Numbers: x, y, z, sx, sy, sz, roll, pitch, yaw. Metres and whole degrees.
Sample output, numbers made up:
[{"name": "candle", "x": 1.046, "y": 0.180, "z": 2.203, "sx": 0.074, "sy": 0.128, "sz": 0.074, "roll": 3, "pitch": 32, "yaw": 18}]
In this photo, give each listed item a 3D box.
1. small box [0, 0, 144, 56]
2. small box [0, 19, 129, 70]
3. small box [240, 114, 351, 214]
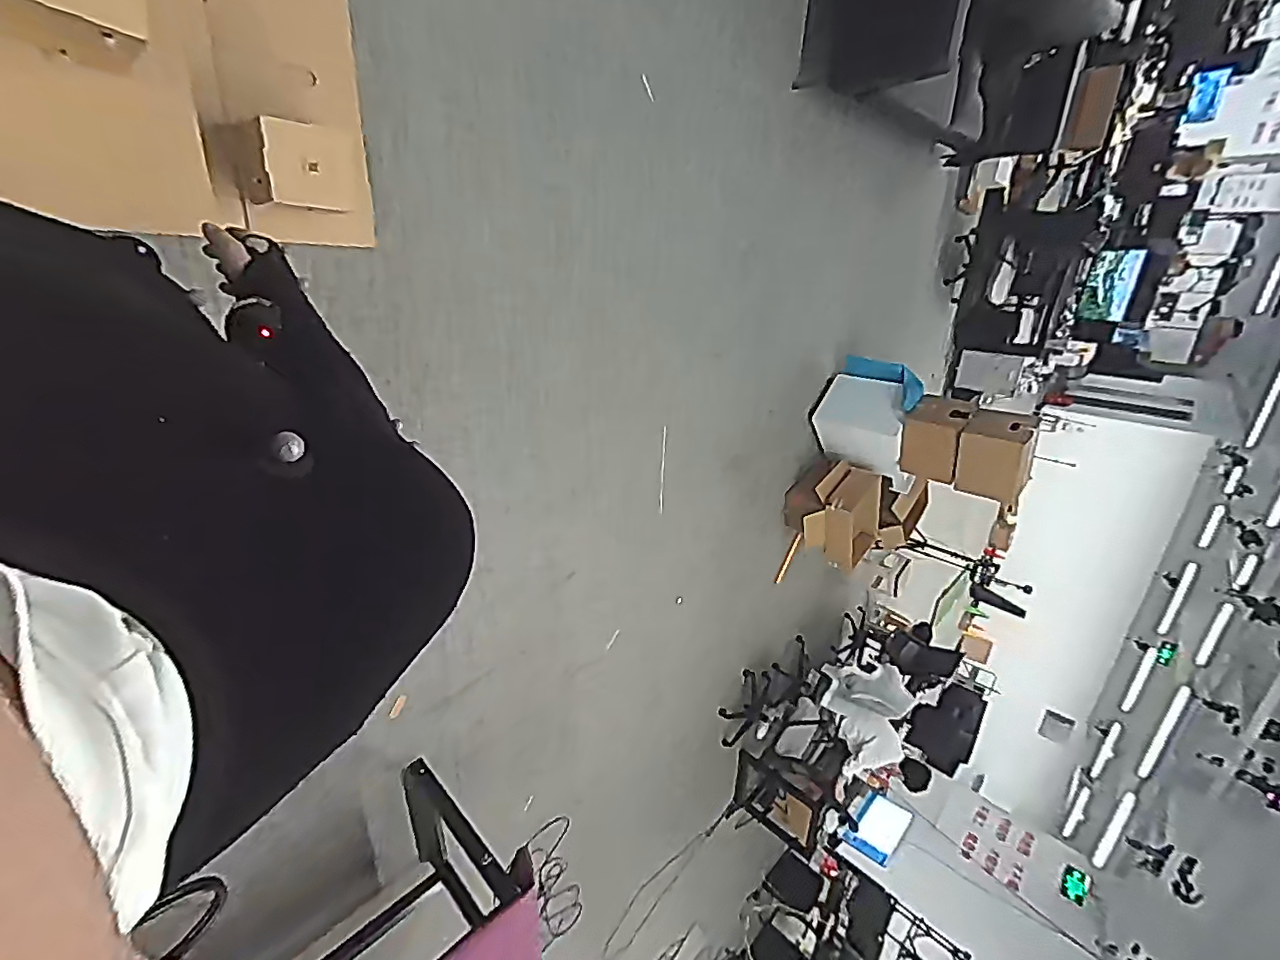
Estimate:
[{"name": "small box", "x": -0.898, "y": -0.790, "z": 0.831, "sx": 0.179, "sy": 0.176, "sz": 0.168, "roll": -8, "pitch": 112, "yaw": -47}, {"name": "small box", "x": -1.019, "y": -0.843, "z": 0.932, "sx": 0.179, "sy": 0.176, "sz": 0.168, "roll": -8, "pitch": 112, "yaw": -47}, {"name": "small box", "x": -0.796, "y": -0.714, "z": 1.245, "sx": 0.179, "sy": 0.176, "sz": 0.168, "roll": -16, "pitch": 119, "yaw": -43}]
